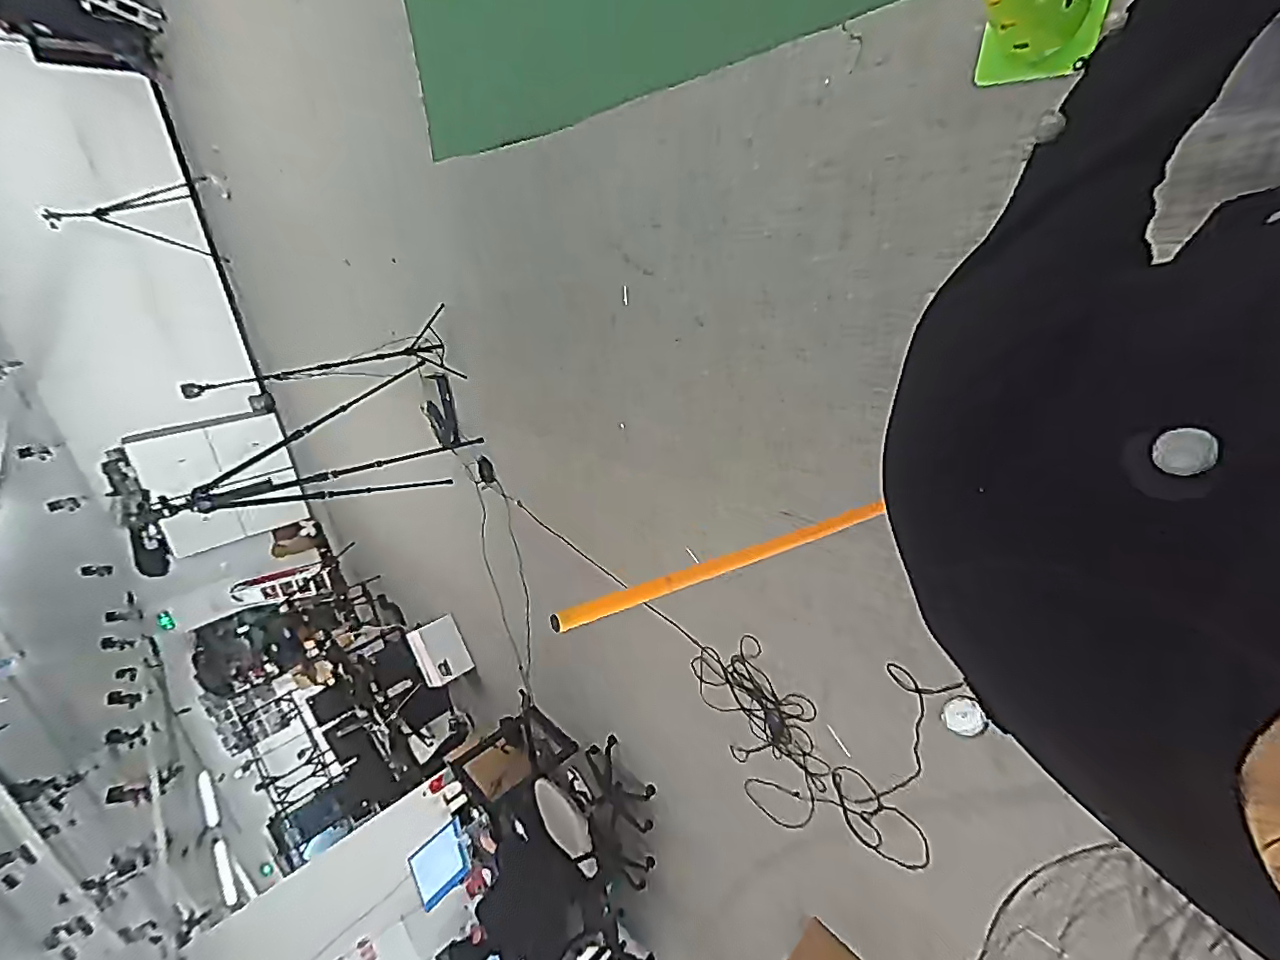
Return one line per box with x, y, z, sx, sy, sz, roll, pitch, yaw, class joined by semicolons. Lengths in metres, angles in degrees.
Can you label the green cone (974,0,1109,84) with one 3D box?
0.654;-0.843;0.936;0.202;0.368;0.200;25;126;41;green cone
